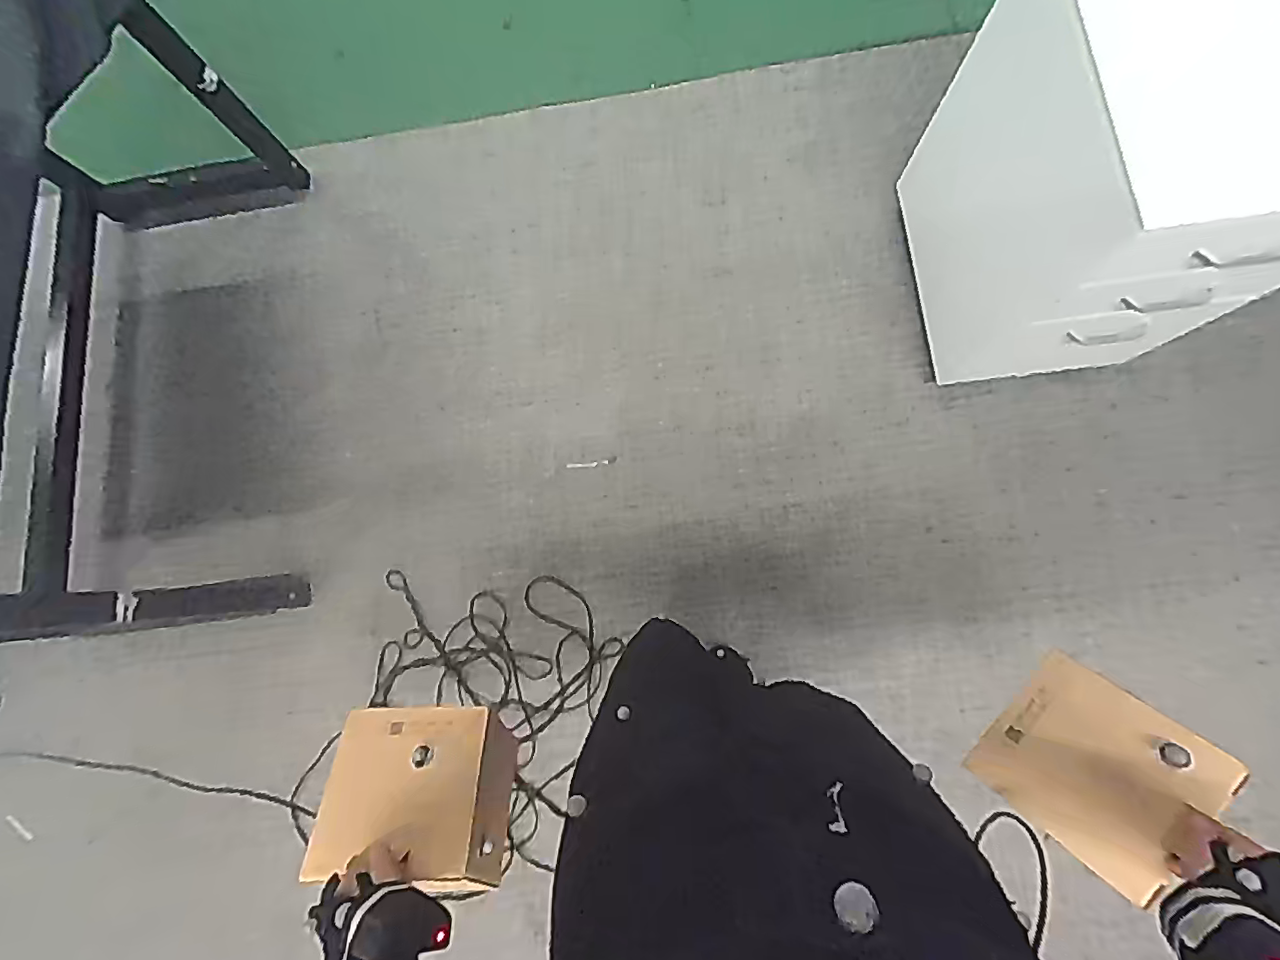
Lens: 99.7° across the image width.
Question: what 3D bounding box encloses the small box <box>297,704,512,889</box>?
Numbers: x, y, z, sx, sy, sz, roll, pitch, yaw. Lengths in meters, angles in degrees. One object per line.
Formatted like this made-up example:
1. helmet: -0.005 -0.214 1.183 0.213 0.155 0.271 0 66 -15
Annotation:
1. small box: -0.256 0.379 0.644 0.168 0.179 0.176 0 52 -1
